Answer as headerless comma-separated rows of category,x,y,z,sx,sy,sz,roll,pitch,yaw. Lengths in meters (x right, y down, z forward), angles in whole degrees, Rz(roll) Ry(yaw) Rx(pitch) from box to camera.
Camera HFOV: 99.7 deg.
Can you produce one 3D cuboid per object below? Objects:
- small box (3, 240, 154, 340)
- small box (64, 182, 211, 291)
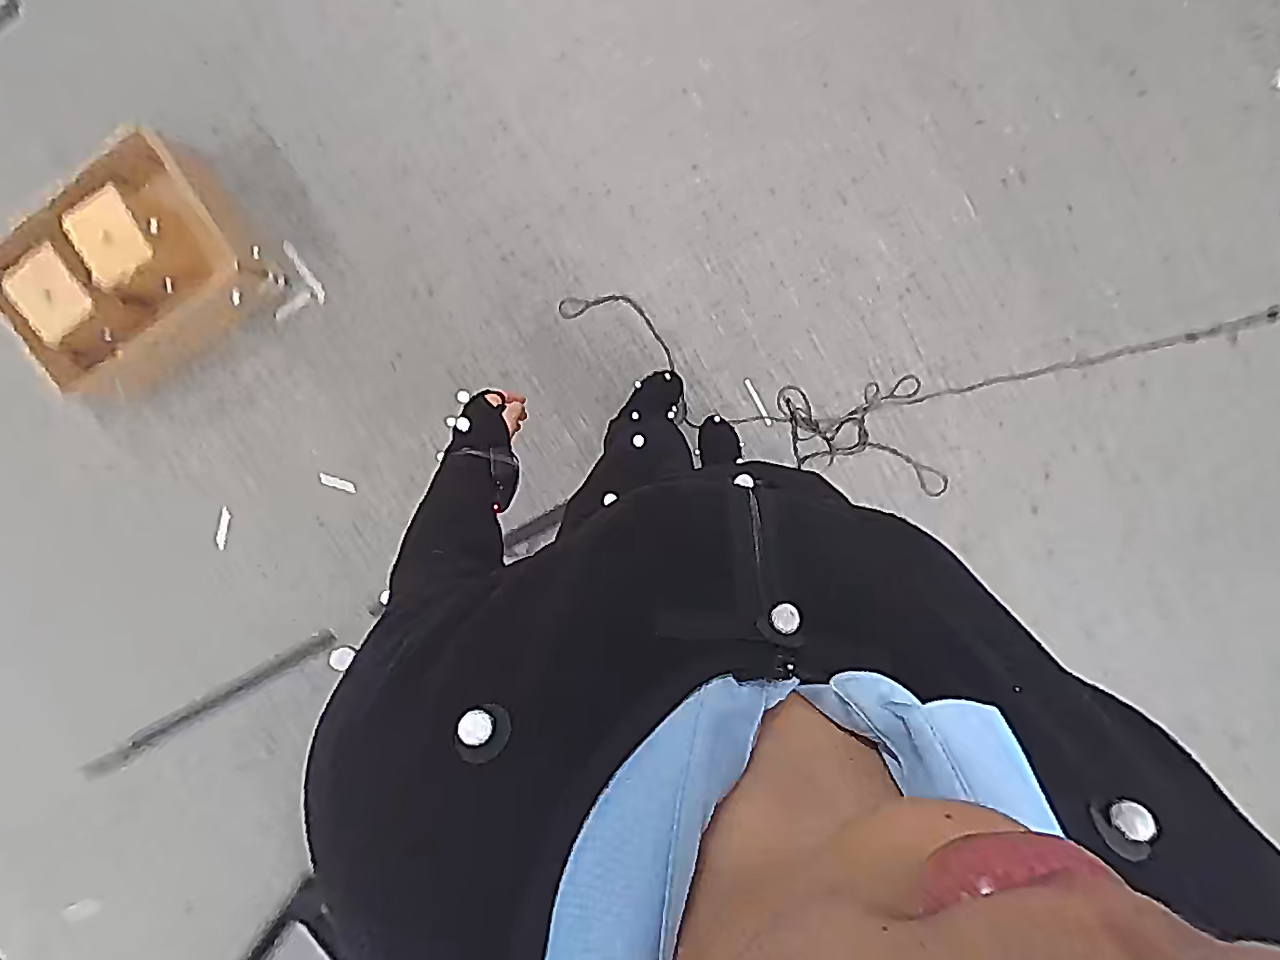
small box,-1.420,-0.473,1.382,0.168,0.176,0.179,-32,97,6
small box,-1.244,-0.598,1.352,0.168,0.176,0.179,-25,98,8
